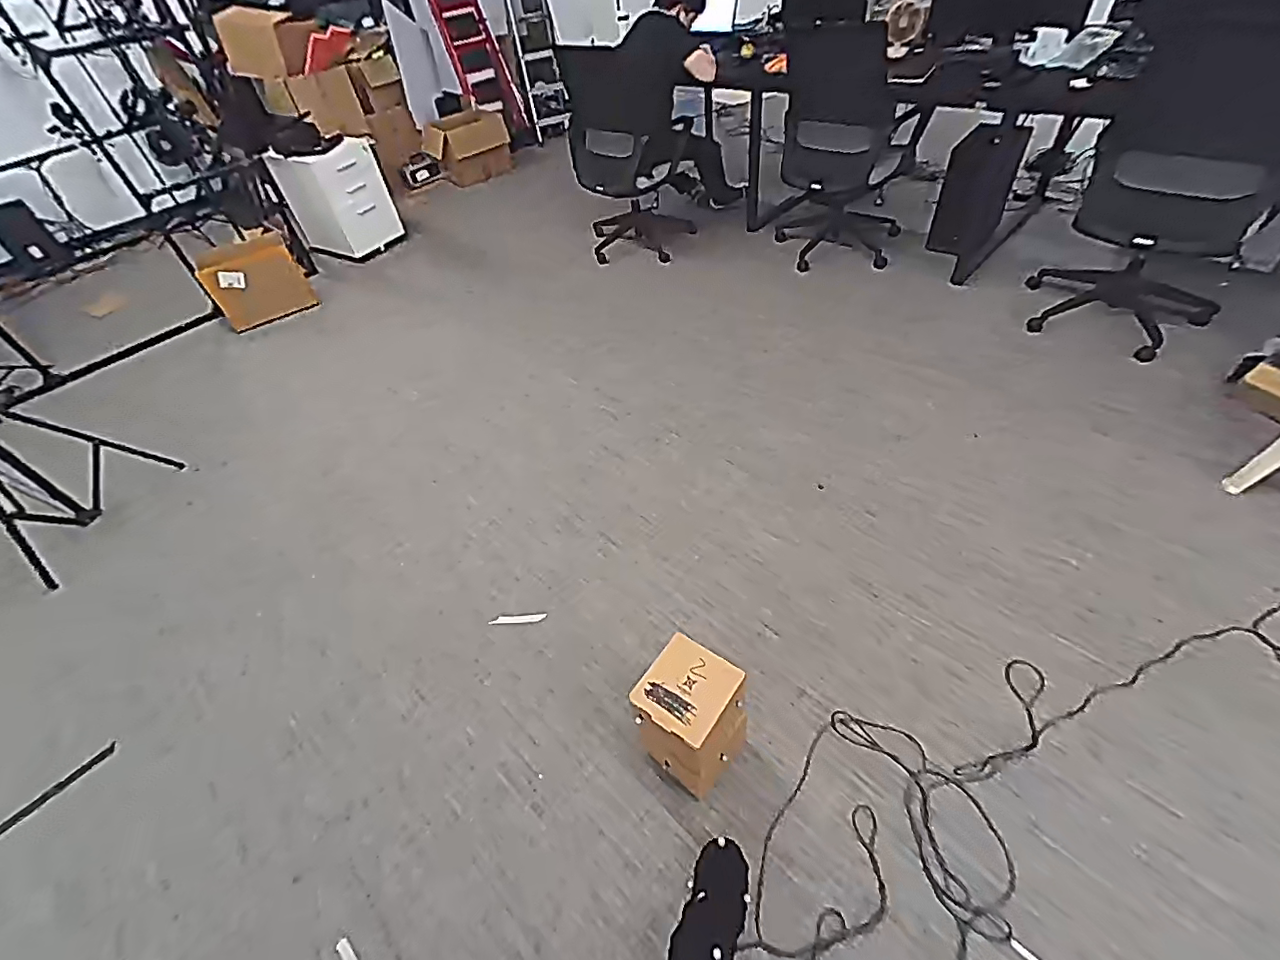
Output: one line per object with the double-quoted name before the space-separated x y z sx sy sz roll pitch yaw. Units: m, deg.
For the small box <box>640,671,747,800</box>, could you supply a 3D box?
"small box" 0.126 0.576 1.213 0.168 0.176 0.179 30 58 32
